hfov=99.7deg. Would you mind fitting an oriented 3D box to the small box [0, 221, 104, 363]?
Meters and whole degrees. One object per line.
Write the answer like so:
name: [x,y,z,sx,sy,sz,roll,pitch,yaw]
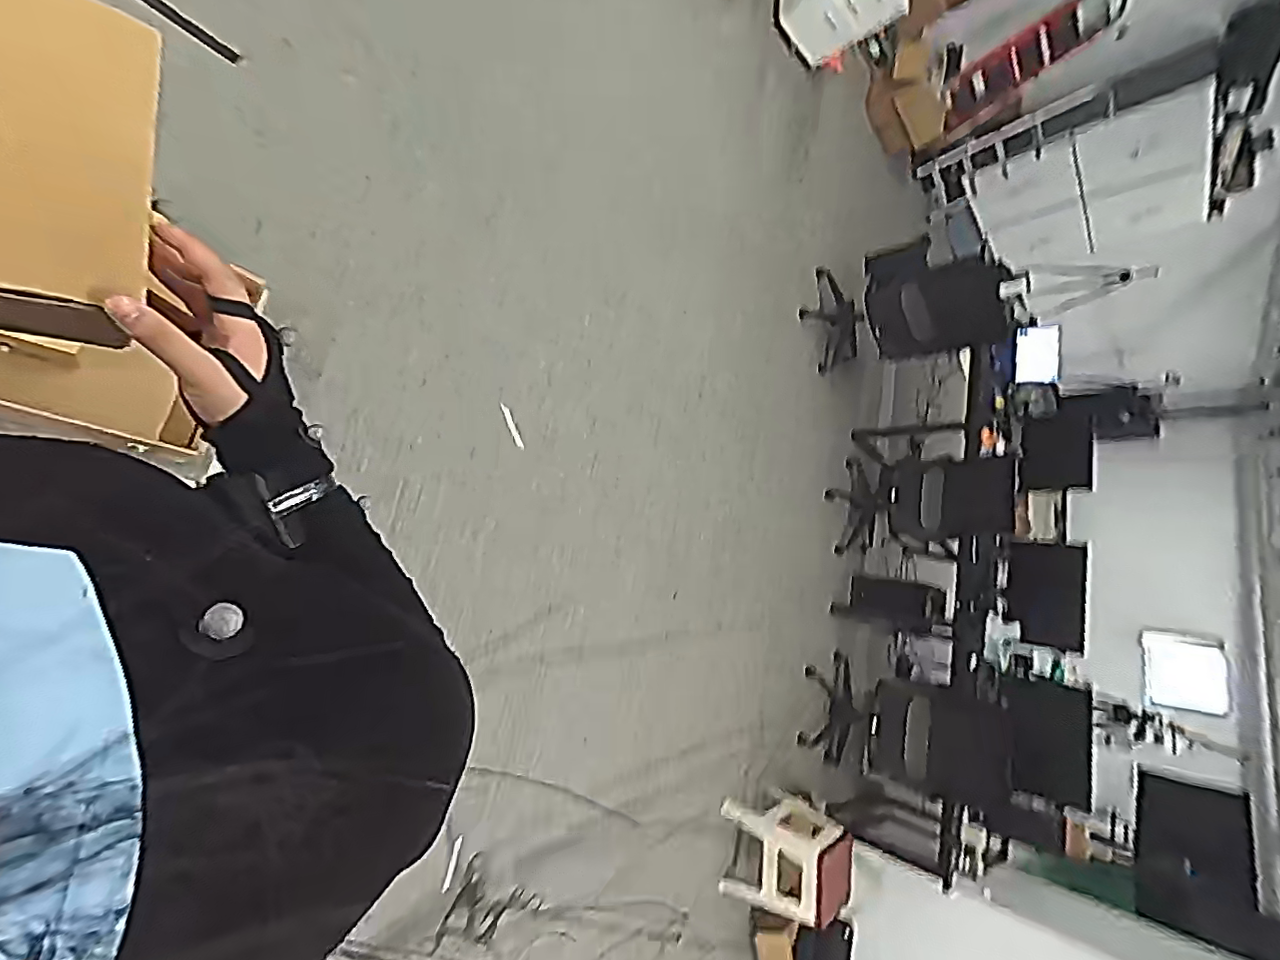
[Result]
small box: [-1.072,-0.322,0.941,0.168,0.176,0.179,20,75,-44]
